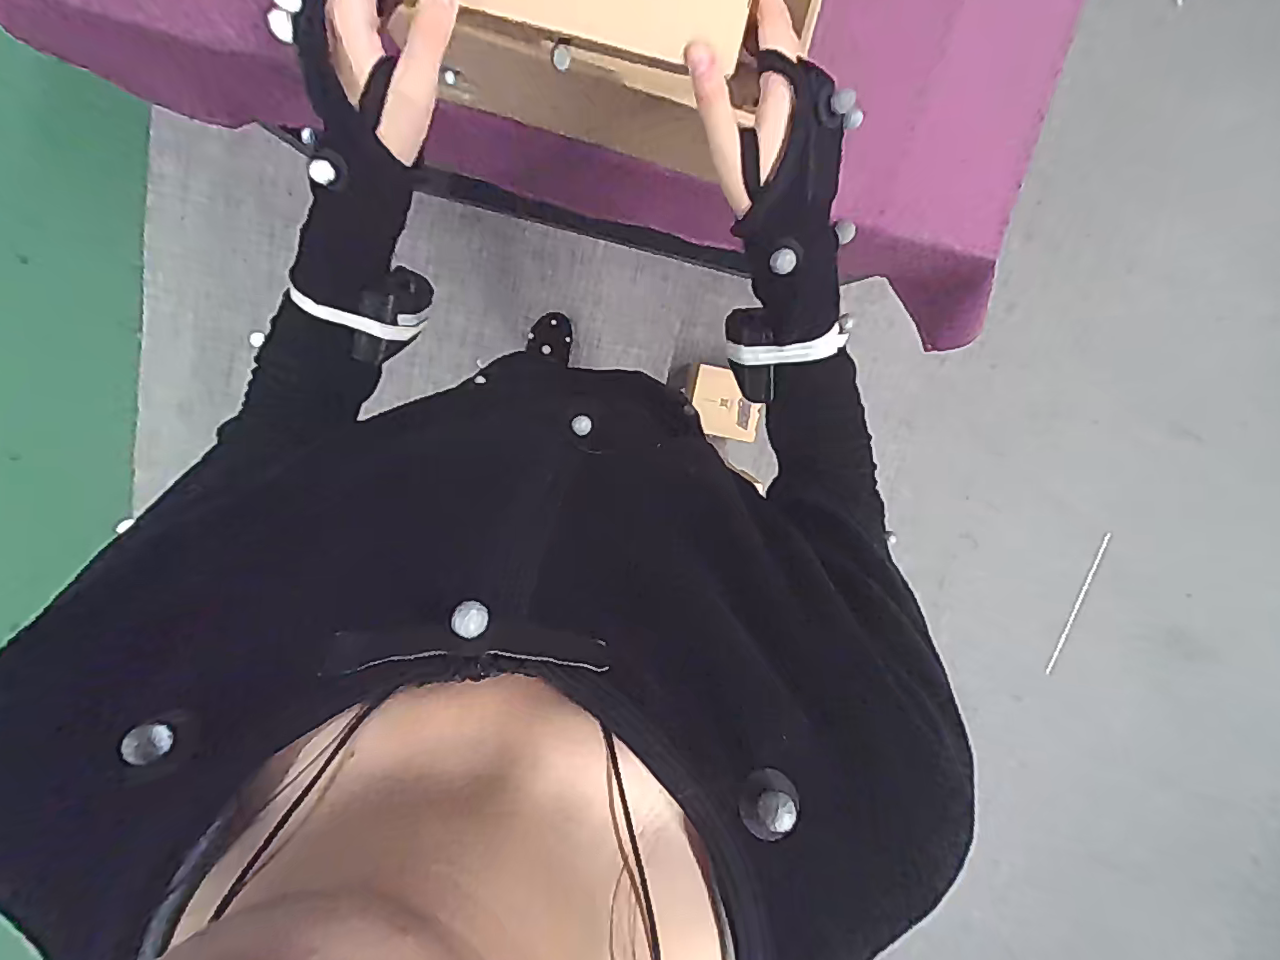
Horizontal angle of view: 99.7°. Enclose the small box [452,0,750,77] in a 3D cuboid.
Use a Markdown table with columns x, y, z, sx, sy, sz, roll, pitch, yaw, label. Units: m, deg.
| x | y | z | sx | sy | sz | roll | pitch | yaw | label |
| --- | --- | --- | --- | --- | --- | --- | --- | --- | --- |
| -0.024 | -0.353 | 0.311 | 0.179 | 0.176 | 0.168 | 5 | 127 | -14 | small box |
